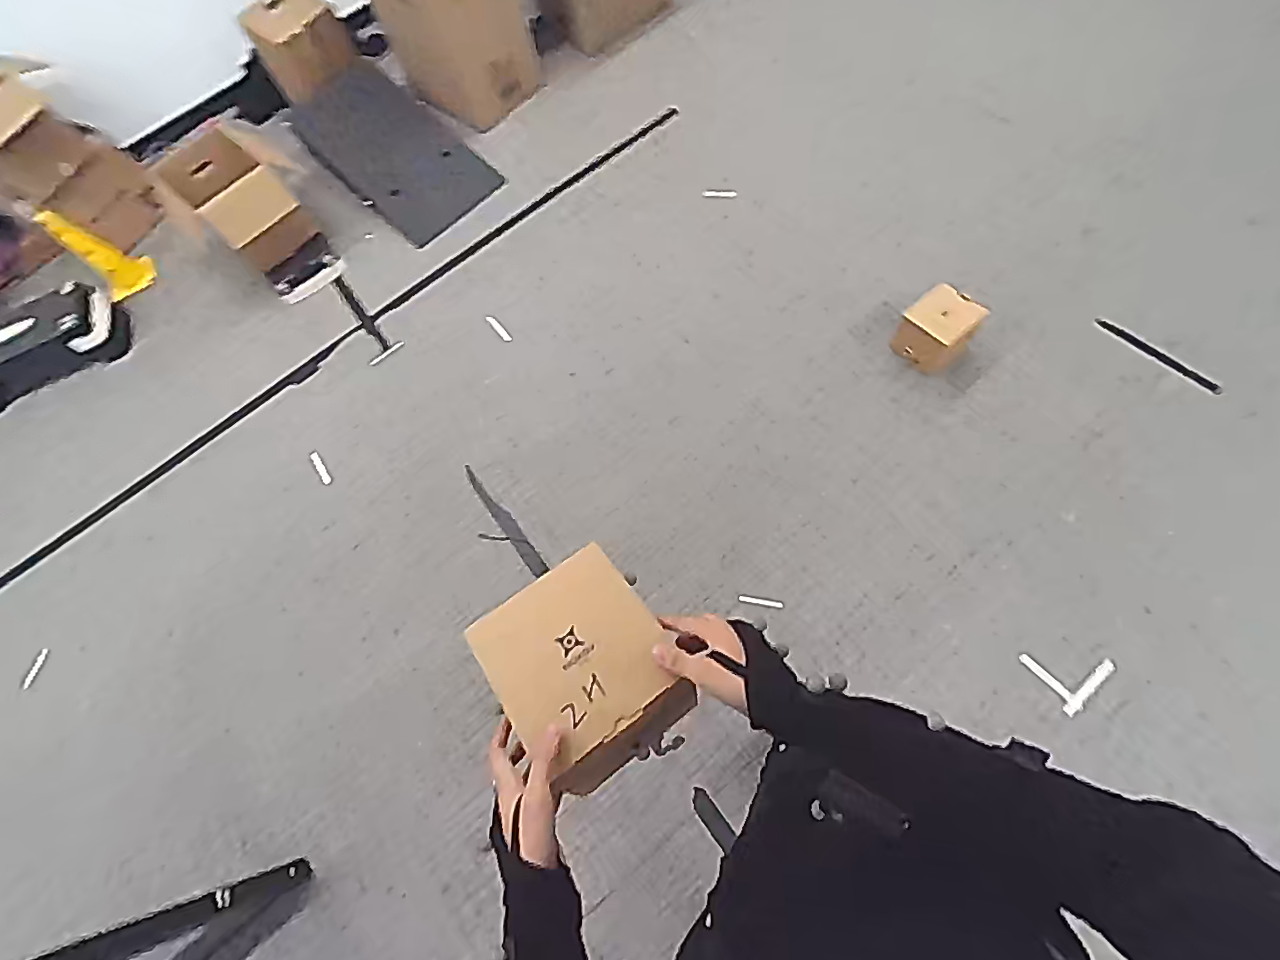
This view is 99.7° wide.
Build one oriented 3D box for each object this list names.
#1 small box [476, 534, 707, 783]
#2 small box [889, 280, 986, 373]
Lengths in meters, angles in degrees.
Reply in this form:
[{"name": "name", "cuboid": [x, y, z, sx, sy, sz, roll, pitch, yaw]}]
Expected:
[{"name": "small box", "cuboid": [-0.044, 0.197, 0.584, 0.168, 0.176, 0.179, -34, 60, -13]}, {"name": "small box", "cuboid": [0.896, -0.465, 1.651, 0.179, 0.176, 0.168, -38, 65, -8]}]
